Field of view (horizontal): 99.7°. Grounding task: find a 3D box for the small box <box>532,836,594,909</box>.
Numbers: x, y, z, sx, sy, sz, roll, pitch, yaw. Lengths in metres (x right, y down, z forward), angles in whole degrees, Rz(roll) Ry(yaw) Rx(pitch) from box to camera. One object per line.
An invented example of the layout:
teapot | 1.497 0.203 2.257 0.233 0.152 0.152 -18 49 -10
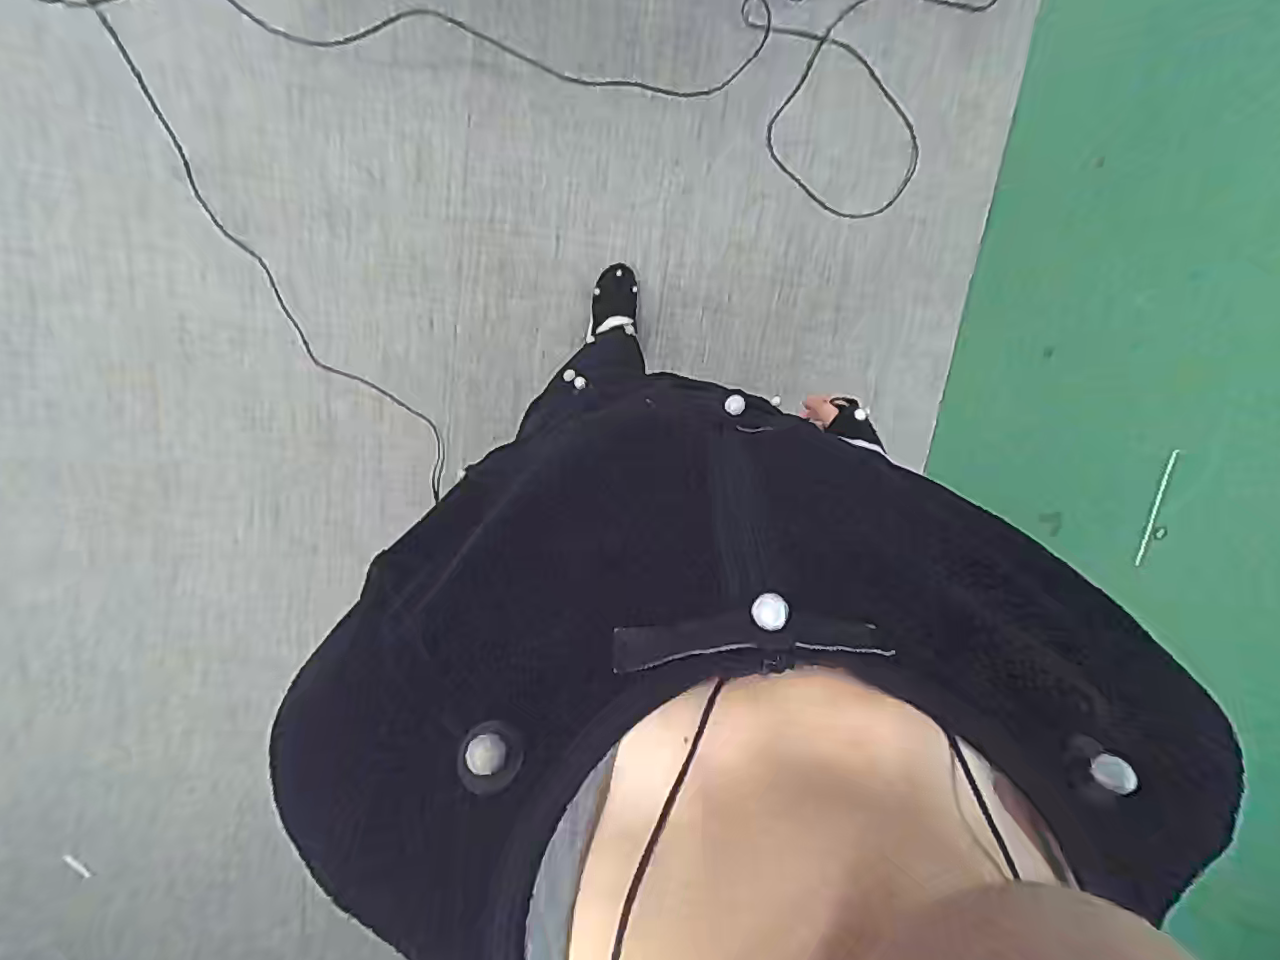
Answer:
small box | -0.231 1.207 1.622 0.179 0.176 0.168 1 102 -7

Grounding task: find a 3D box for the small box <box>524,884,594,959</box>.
small box | -0.219 1.235 1.460 0.179 0.176 0.168 1 101 -7

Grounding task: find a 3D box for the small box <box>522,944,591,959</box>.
small box | -0.209 1.265 1.298 0.179 0.176 0.168 2 102 -7
